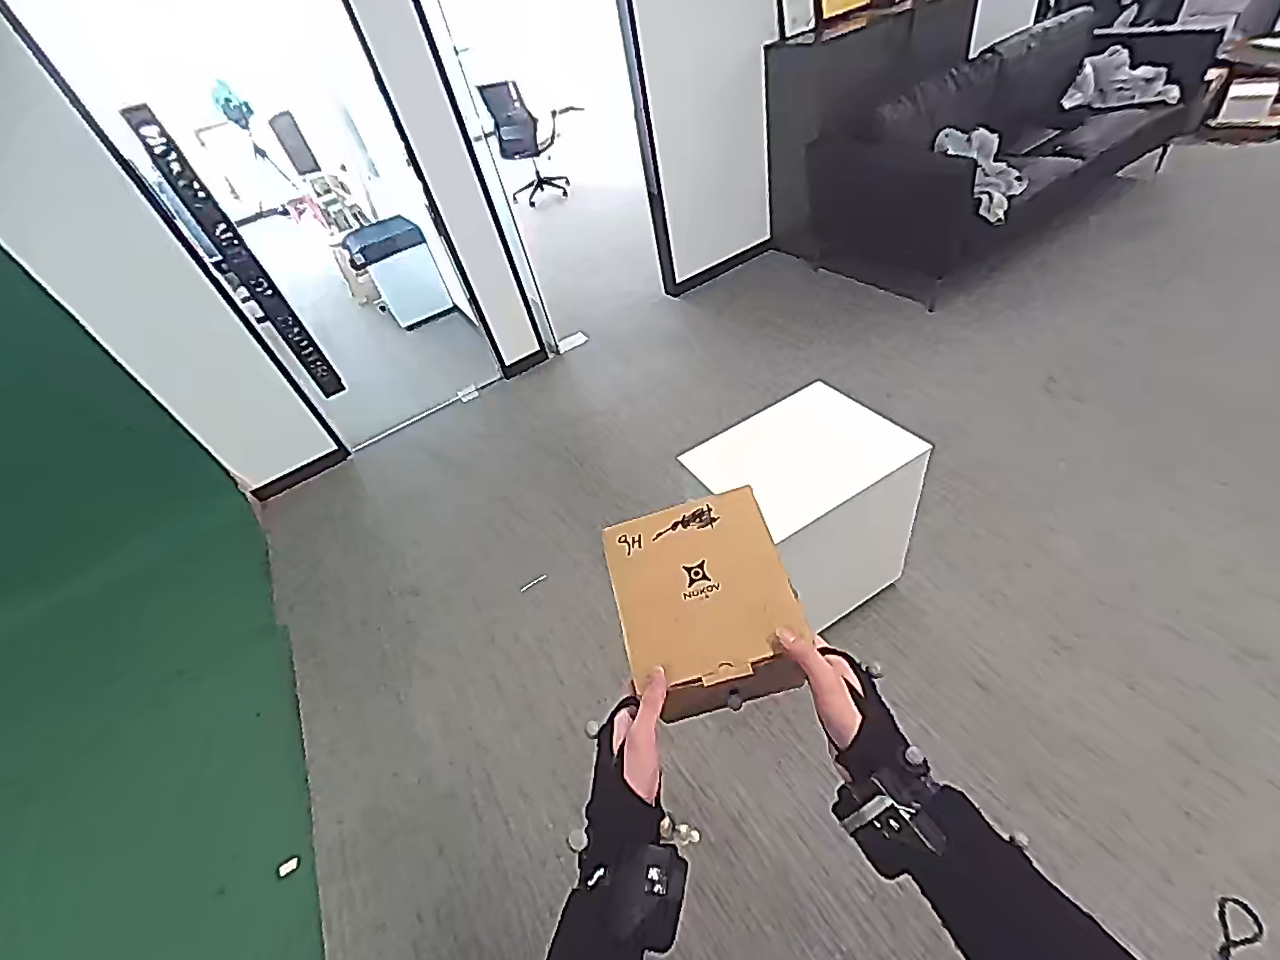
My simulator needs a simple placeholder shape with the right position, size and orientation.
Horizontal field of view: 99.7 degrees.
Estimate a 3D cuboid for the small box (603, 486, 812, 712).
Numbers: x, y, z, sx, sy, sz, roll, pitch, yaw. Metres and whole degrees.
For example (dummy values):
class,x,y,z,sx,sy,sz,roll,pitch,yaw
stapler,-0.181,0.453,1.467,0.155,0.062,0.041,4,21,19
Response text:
class,x,y,z,sx,sy,sz,roll,pitch,yaw
small box,0.075,0.141,0.593,0.168,0.176,0.179,-19,56,2
